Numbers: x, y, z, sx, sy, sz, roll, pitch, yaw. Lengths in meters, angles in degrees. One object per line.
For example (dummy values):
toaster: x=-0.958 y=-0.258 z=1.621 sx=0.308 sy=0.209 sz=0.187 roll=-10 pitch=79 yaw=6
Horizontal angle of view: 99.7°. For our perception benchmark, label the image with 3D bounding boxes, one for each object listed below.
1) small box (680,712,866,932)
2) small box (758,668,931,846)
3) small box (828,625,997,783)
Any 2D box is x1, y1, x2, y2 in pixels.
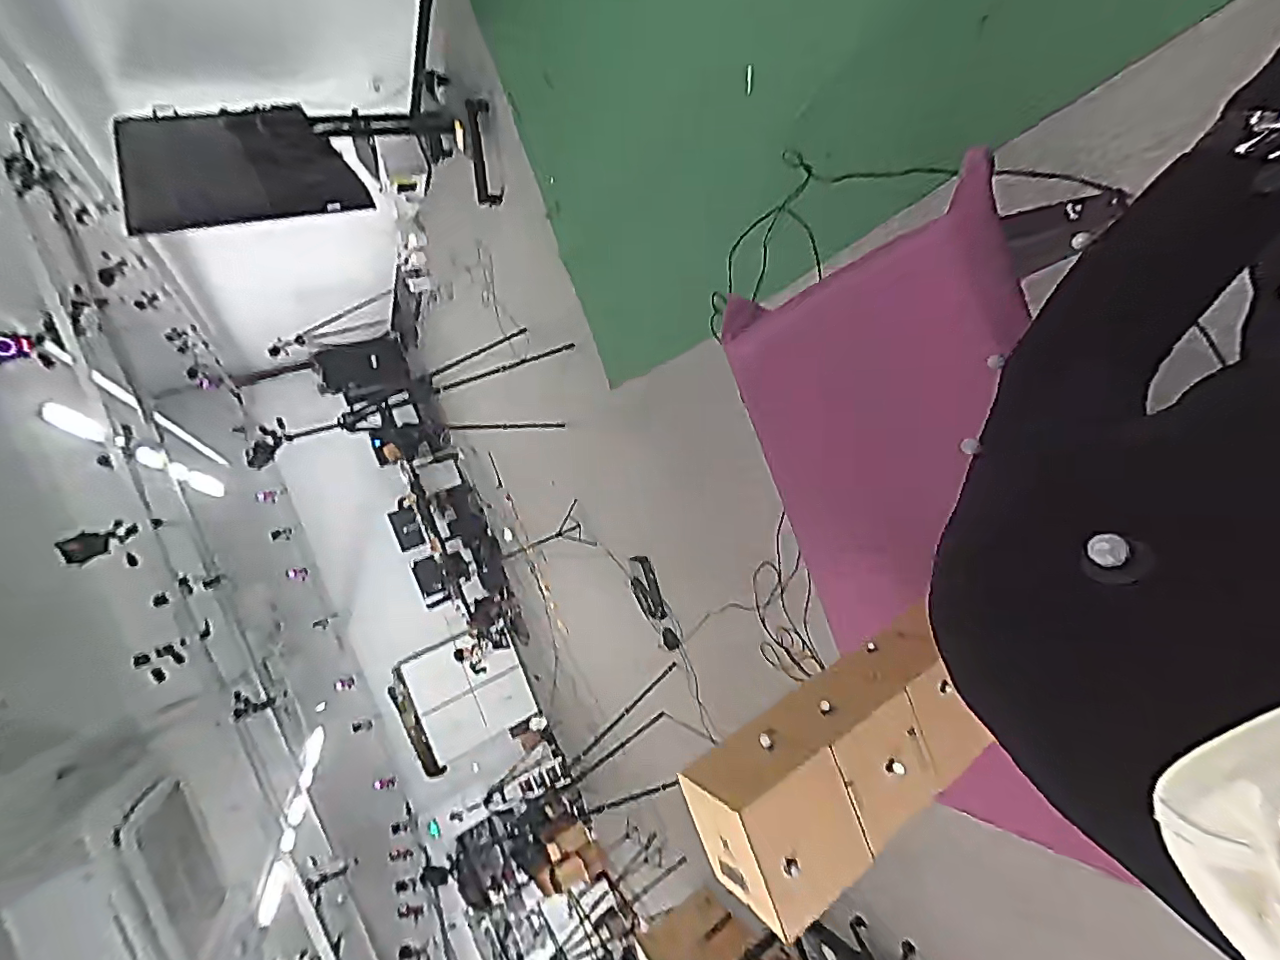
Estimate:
small box: x=0.190 y=0.471 z=0.779 sx=0.168 sy=0.176 sz=0.179 roll=-21 pitch=89 yaw=64
small box: x=0.326 y=0.419 z=0.856 sx=0.179 sy=0.176 sz=0.168 roll=-20 pitch=90 yaw=63
small box: x=0.464 y=0.365 z=0.924 sx=0.168 sy=0.176 sz=0.179 roll=-18 pitch=93 yaw=63
